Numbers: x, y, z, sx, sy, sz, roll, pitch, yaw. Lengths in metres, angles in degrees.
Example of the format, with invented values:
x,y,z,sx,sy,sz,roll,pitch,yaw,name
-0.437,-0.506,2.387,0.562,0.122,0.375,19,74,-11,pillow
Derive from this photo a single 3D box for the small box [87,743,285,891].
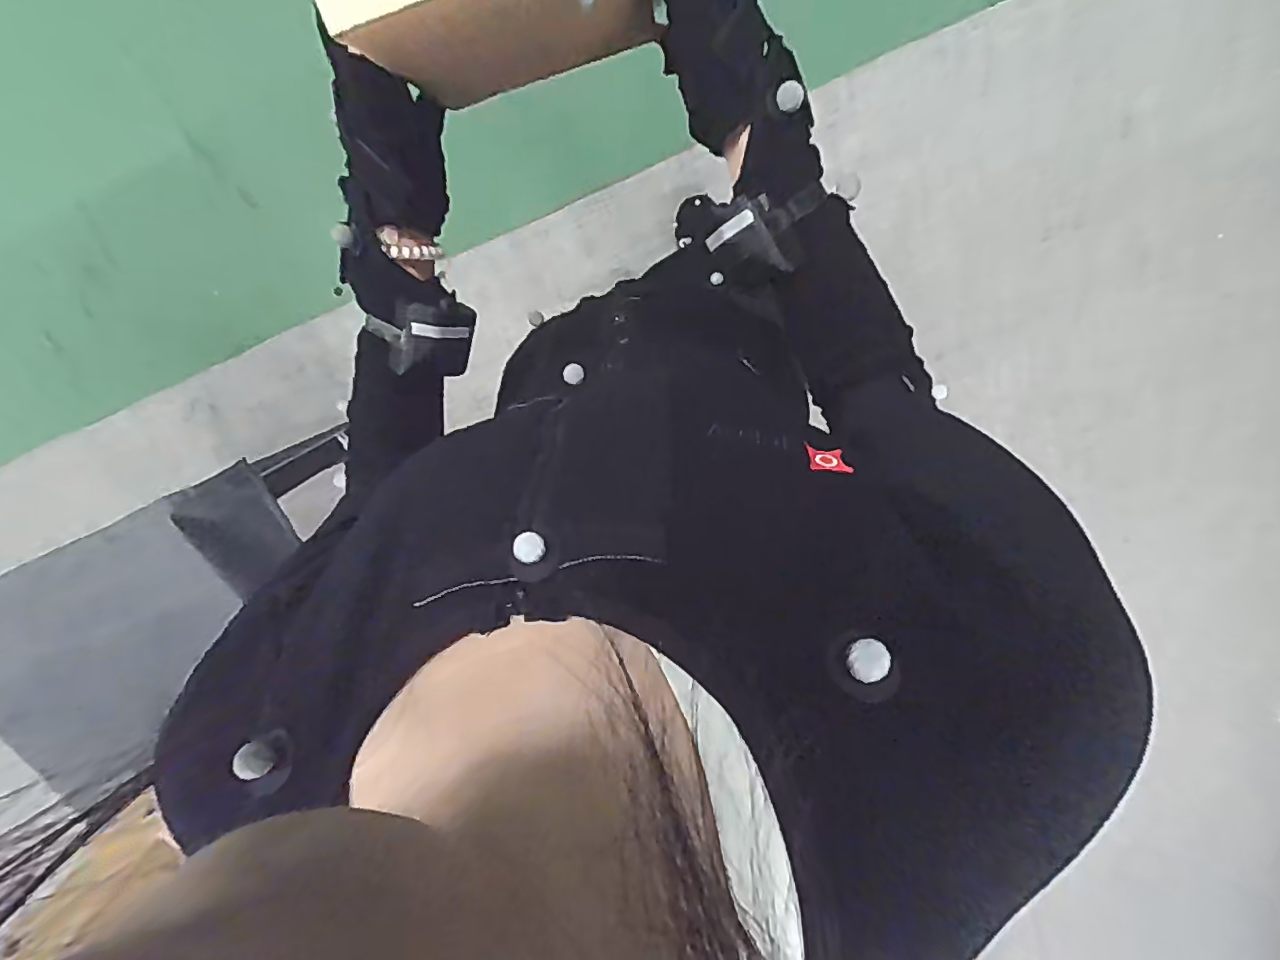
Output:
x,y,z,sx,sy,sz,roll,pitch,yaw,name
-0.766,0.595,0.943,0.179,0.176,0.168,-21,110,11,small box

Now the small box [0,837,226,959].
x,y,z,sx,sy,sz,roll,pitch,yaw,name
-0.780,0.673,0.799,0.179,0.176,0.168,-23,110,10,small box

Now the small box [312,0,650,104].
x,y,z,sx,sy,sz,roll,pitch,yaw,name
-0.098,-0.354,0.316,0.179,0.176,0.168,-14,111,8,small box
